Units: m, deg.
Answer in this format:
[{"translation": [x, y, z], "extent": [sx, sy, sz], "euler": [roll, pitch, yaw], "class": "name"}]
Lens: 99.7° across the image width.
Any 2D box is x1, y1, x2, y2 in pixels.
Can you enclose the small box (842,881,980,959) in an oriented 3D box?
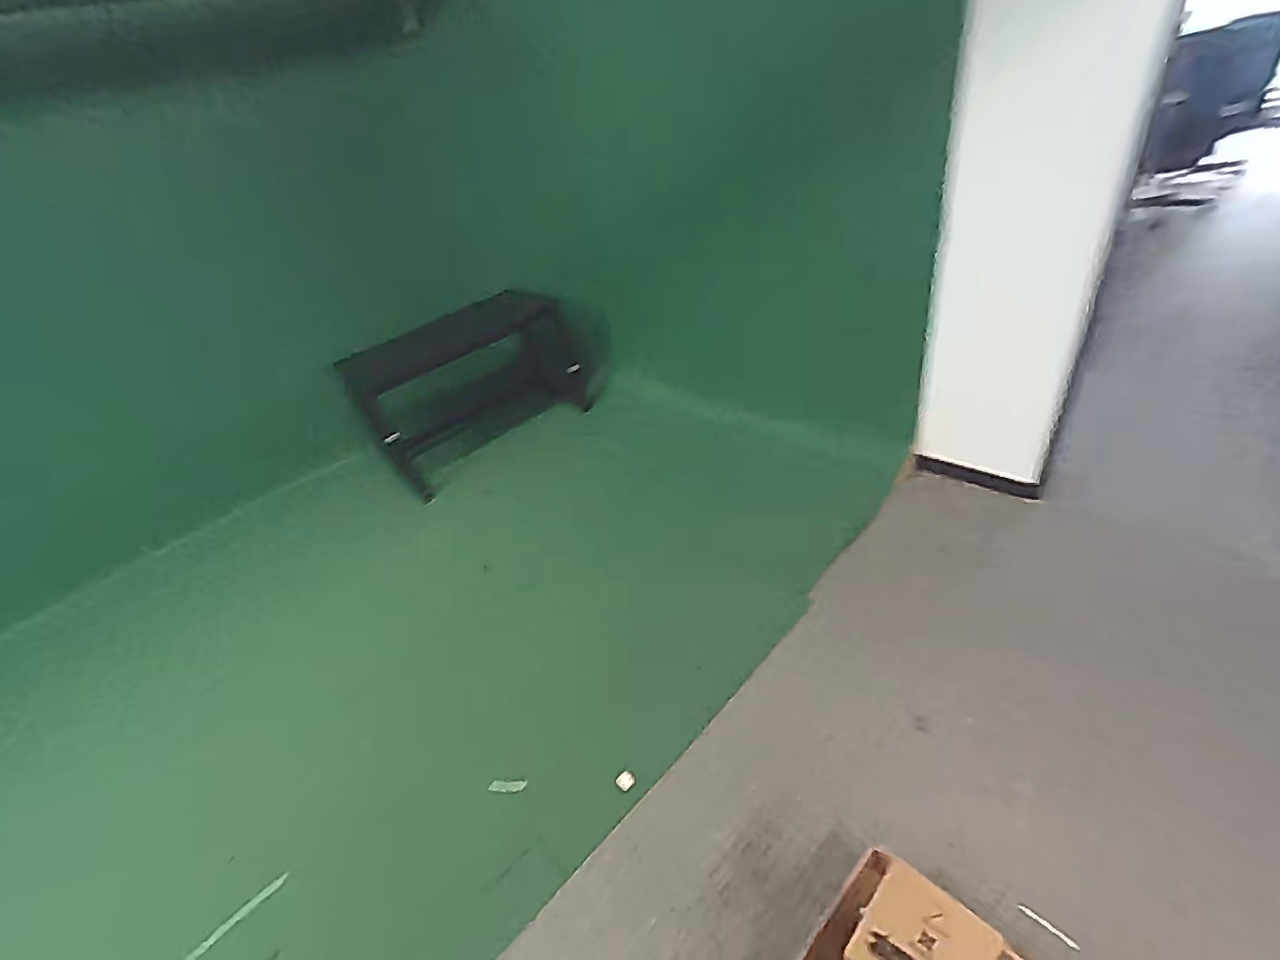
[{"translation": [0.475, 0.886, 0.972], "extent": [0.179, 0.176, 0.168], "euler": [-37, 42, -28], "class": "small box"}]
